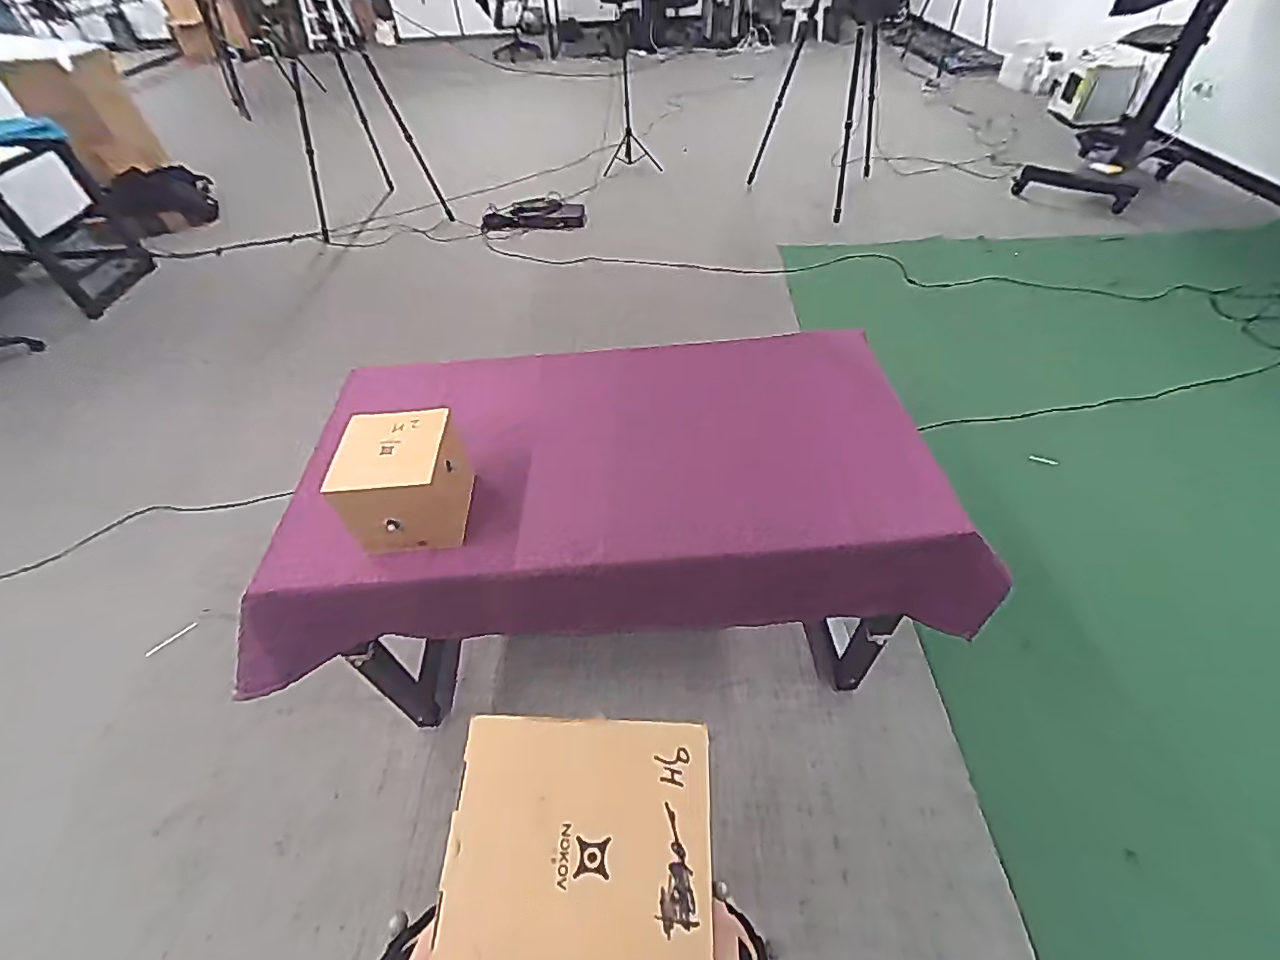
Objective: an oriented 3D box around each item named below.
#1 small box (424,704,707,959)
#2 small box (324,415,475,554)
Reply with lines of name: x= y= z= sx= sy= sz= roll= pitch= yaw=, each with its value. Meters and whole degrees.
small box: x=-0.040 y=0.281 z=0.428 sx=0.179 sy=0.176 sz=0.168 roll=2 pitch=61 yaw=2
small box: x=-0.392 y=0.014 z=0.920 sx=0.168 sy=0.176 sz=0.179 roll=-4 pitch=47 yaw=-1
